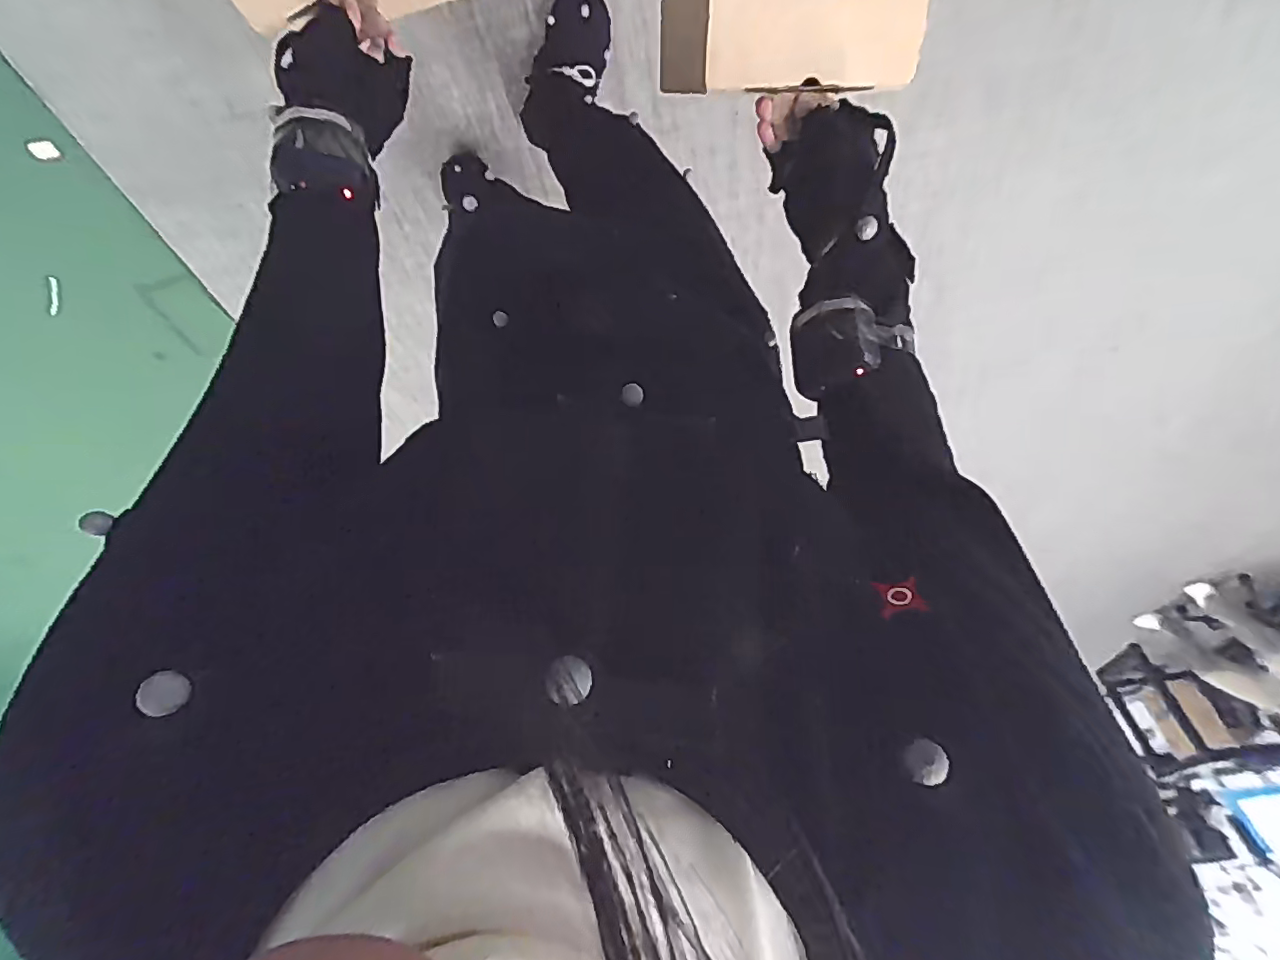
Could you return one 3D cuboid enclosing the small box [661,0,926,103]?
[{"bbox_3d":[0.114,-0.410,0.428,0.168,0.176,0.179,-6,126,-8],"label":"small box"}]
